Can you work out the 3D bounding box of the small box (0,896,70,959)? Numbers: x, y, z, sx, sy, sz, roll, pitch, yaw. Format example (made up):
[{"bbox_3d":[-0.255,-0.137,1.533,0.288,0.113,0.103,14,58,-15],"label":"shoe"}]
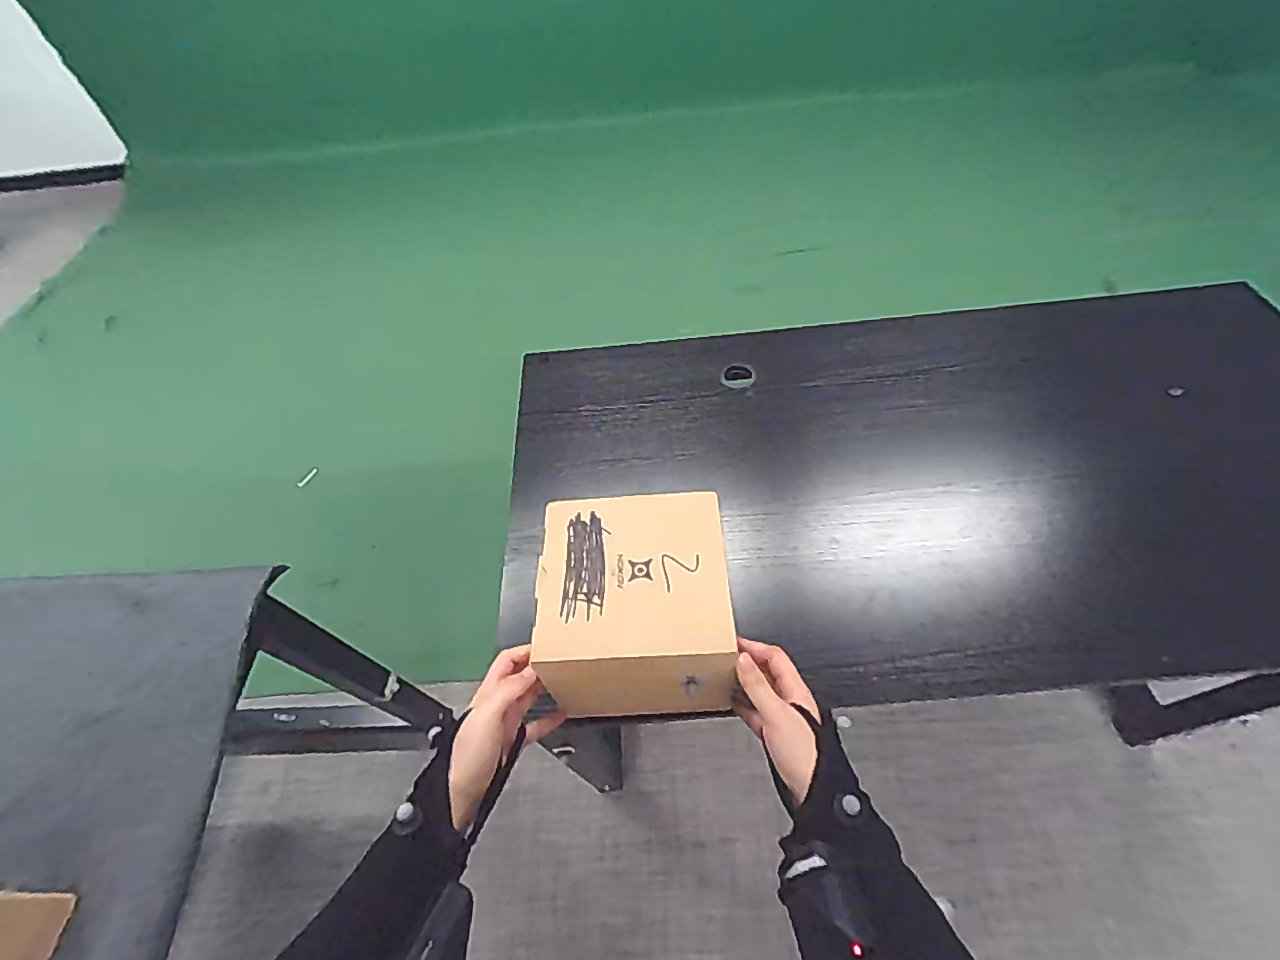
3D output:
[{"bbox_3d":[-0.623,0.425,0.411,0.179,0.176,0.168,-3,55,5],"label":"small box"}]
